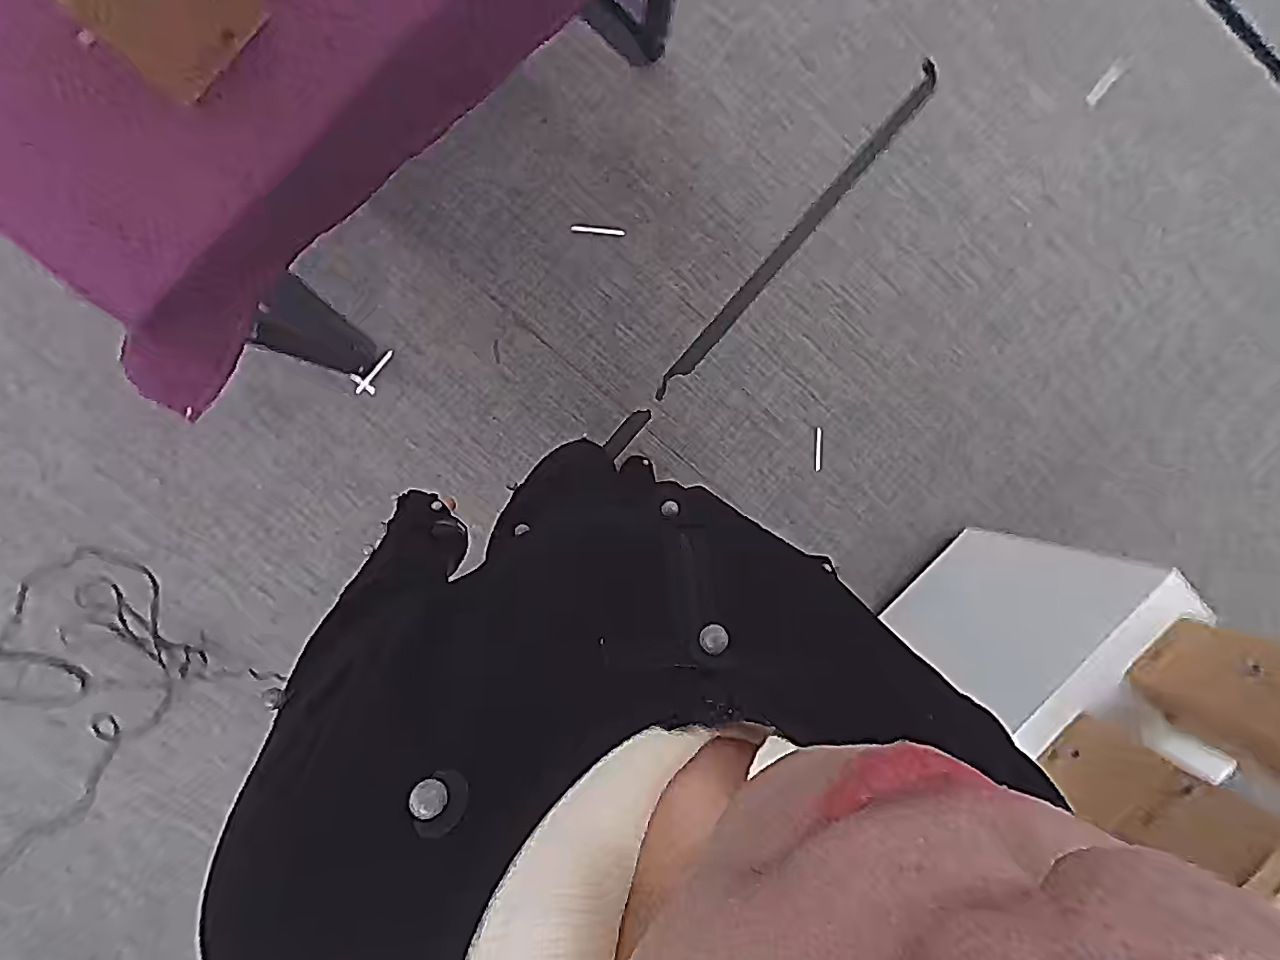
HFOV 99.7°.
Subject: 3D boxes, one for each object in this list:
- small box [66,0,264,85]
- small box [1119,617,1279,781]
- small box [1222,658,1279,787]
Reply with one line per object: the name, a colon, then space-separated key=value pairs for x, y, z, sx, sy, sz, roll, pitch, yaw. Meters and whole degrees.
small box: x=-0.571 y=-0.585 z=0.590 sx=0.179 sy=0.176 sz=0.168 roll=41 pitch=88 yaw=-7
small box: x=1.027 y=0.375 z=0.959 sx=0.168 sy=0.176 sz=0.179 roll=-43 pitch=98 yaw=-1
small box: x=1.042 y=0.384 z=0.794 sx=0.179 sy=0.176 sz=0.168 roll=-43 pitch=96 yaw=-1
